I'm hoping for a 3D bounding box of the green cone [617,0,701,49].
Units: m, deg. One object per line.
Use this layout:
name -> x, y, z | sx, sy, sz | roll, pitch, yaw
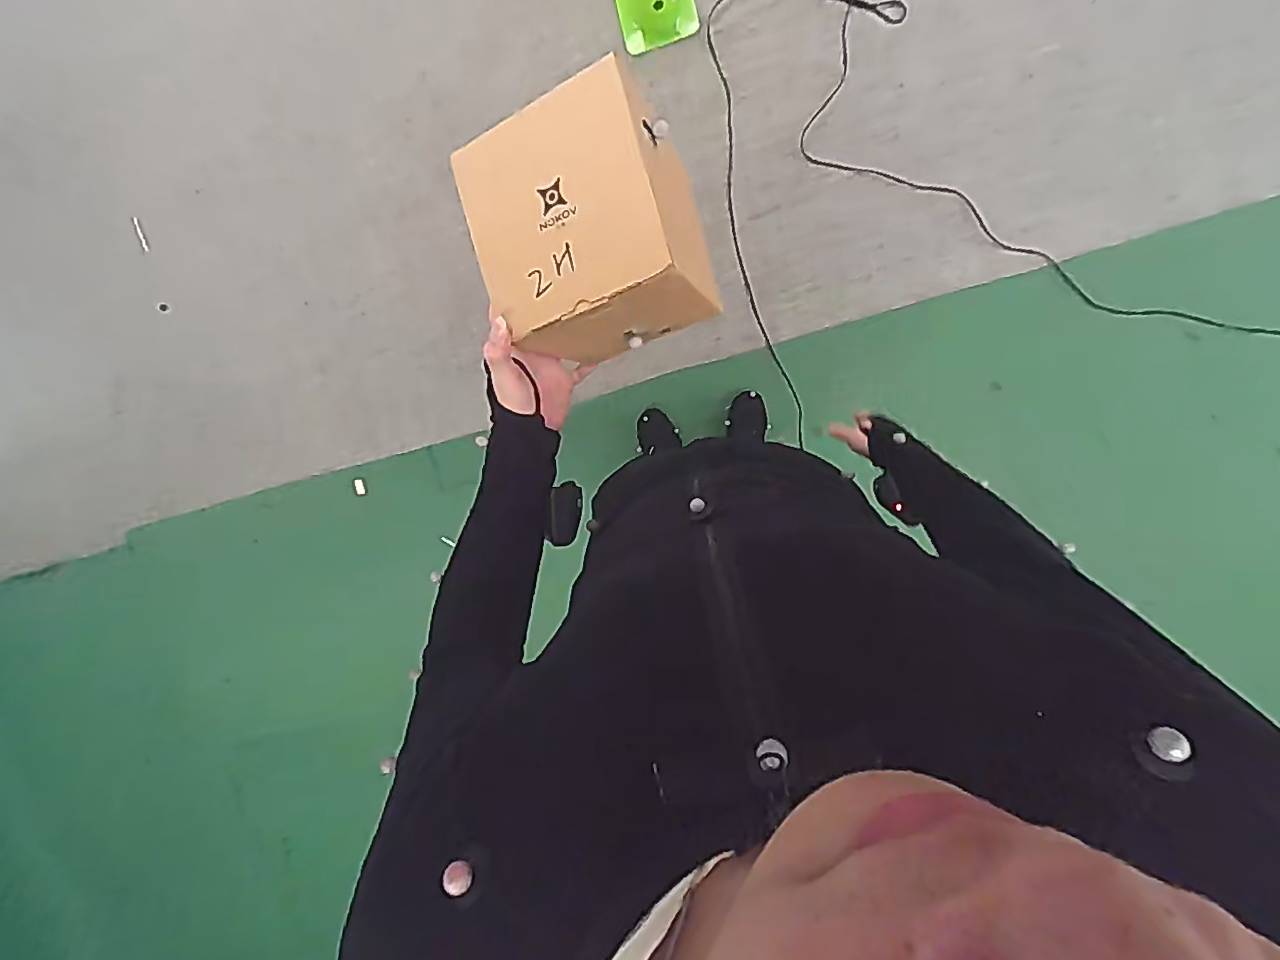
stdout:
green cone -> 0.029, -1.224, 1.241 | 0.202, 0.368, 0.200 | -14, 98, 7
